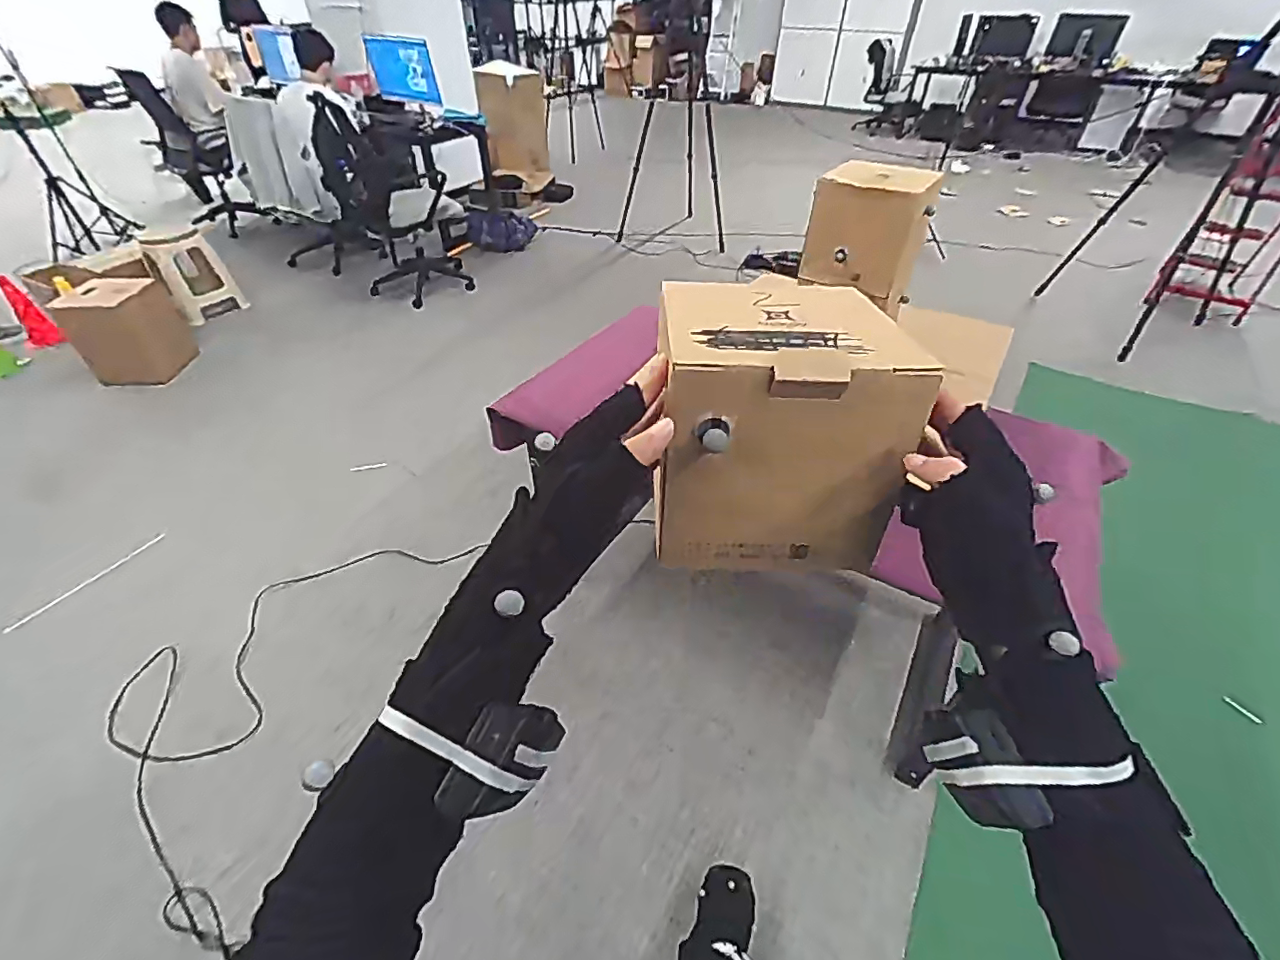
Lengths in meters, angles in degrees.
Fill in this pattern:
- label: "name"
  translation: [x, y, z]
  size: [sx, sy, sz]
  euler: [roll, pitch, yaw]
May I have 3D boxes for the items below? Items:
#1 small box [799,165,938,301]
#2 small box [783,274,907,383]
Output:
- label: "small box"
  translation: [0.401, -0.443, 0.968]
  size: [0.168, 0.176, 0.179]
  euler: [24, 47, 25]
- label: "small box"
  translation: [0.401, -0.320, 1.075]
  size: [0.168, 0.176, 0.179]
  euler: [24, 46, 25]
